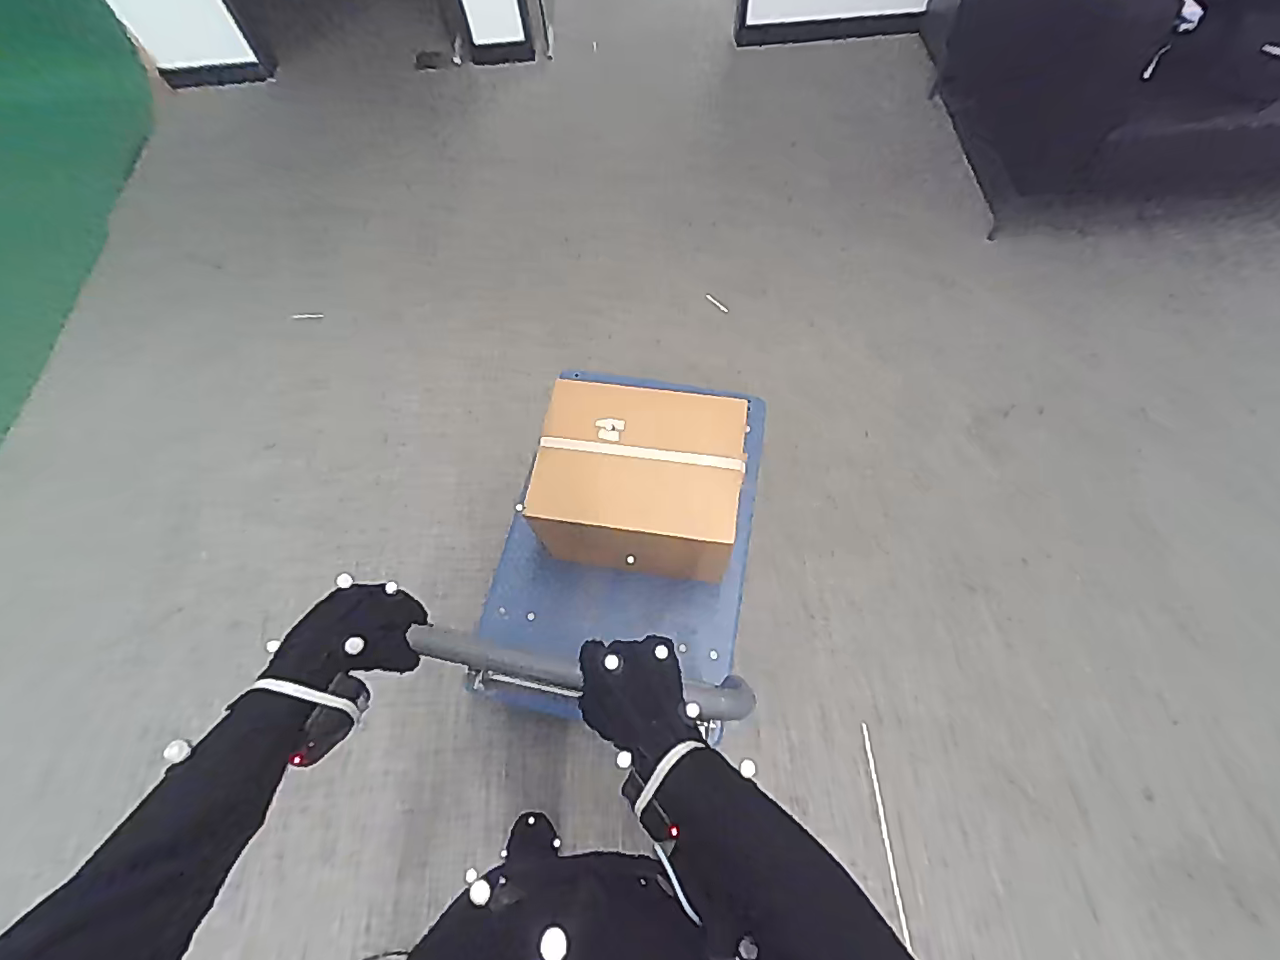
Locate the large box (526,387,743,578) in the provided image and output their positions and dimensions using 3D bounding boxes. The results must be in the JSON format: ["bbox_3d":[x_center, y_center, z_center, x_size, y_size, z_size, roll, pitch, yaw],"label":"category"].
[{"bbox_3d":[0.007,0.018,1.213,0.408,0.320,0.320,7,66,7],"label":"large box"}]
